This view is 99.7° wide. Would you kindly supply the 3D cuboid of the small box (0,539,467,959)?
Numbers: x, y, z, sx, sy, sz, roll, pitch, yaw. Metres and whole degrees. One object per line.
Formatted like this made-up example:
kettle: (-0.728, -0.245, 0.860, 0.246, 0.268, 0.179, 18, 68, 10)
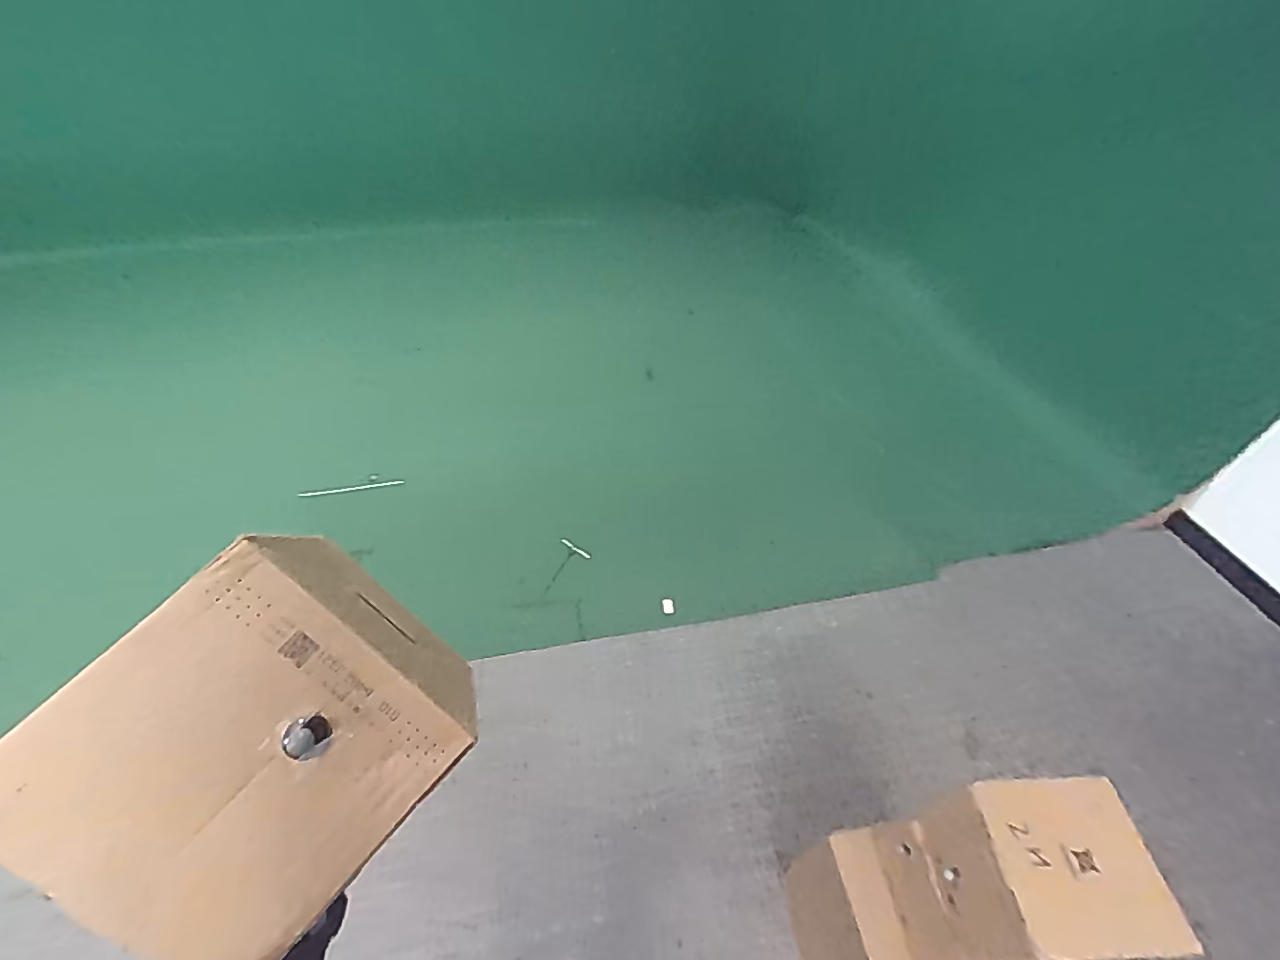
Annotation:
small box: (-0.232, 0.152, 0.354, 0.168, 0.179, 0.176, 46, 73, -8)
